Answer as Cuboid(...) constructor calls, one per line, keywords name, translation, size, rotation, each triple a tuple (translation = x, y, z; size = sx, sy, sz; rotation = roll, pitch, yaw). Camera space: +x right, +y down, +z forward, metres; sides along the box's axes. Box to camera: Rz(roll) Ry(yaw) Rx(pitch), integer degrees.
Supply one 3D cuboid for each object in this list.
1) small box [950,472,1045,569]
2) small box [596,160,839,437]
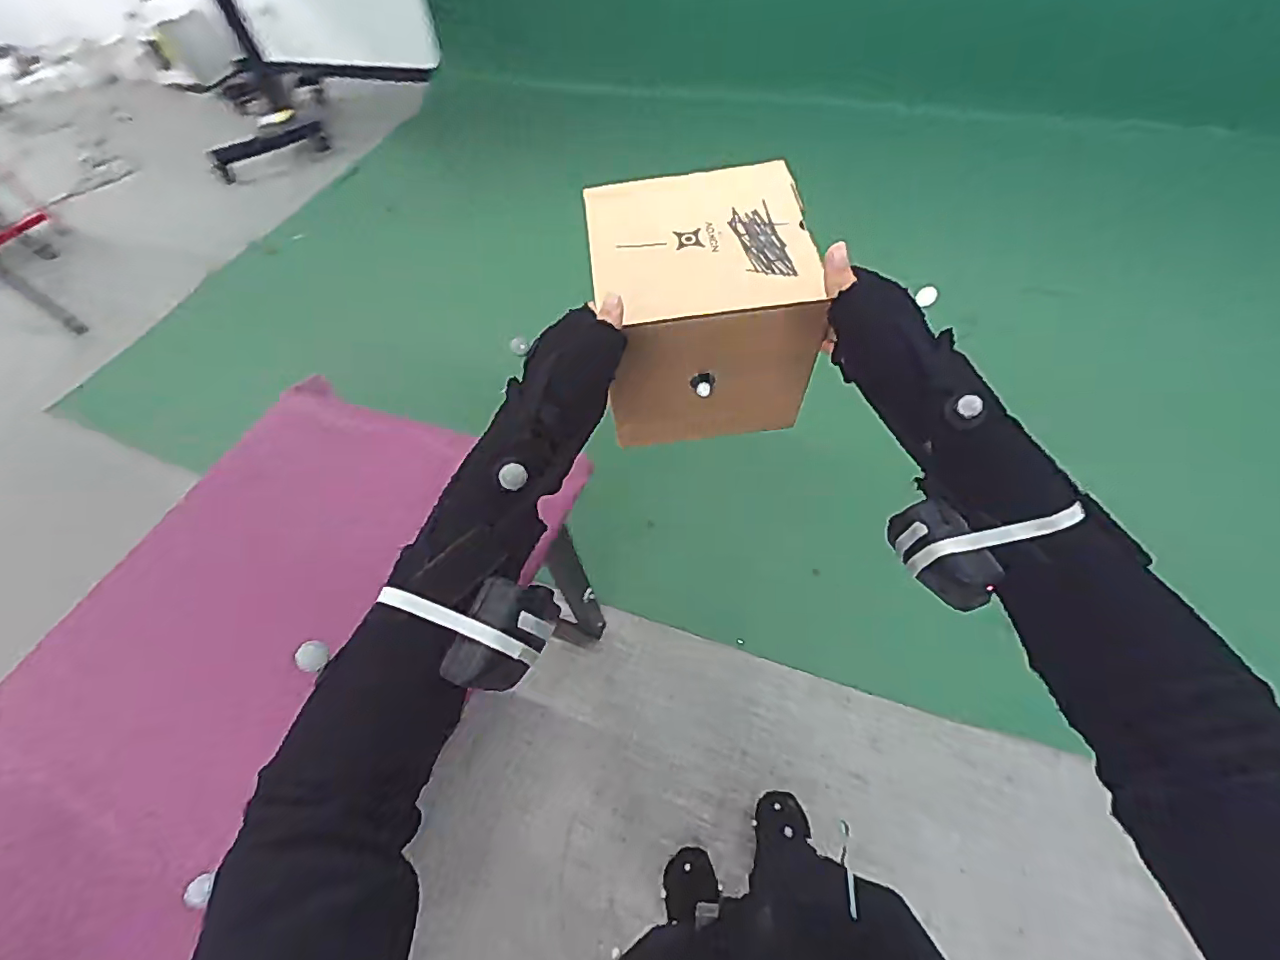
Cuboid(name="small box", translation=(0.956, 0.111, 1.457), size=(0.168, 0.176, 0.179), rotation=(14, 59, 15))
Cuboid(name="small box", translation=(0.057, -0.154, 0.491), size=(0.179, 0.176, 0.168), rotation=(-4, 60, 3))
